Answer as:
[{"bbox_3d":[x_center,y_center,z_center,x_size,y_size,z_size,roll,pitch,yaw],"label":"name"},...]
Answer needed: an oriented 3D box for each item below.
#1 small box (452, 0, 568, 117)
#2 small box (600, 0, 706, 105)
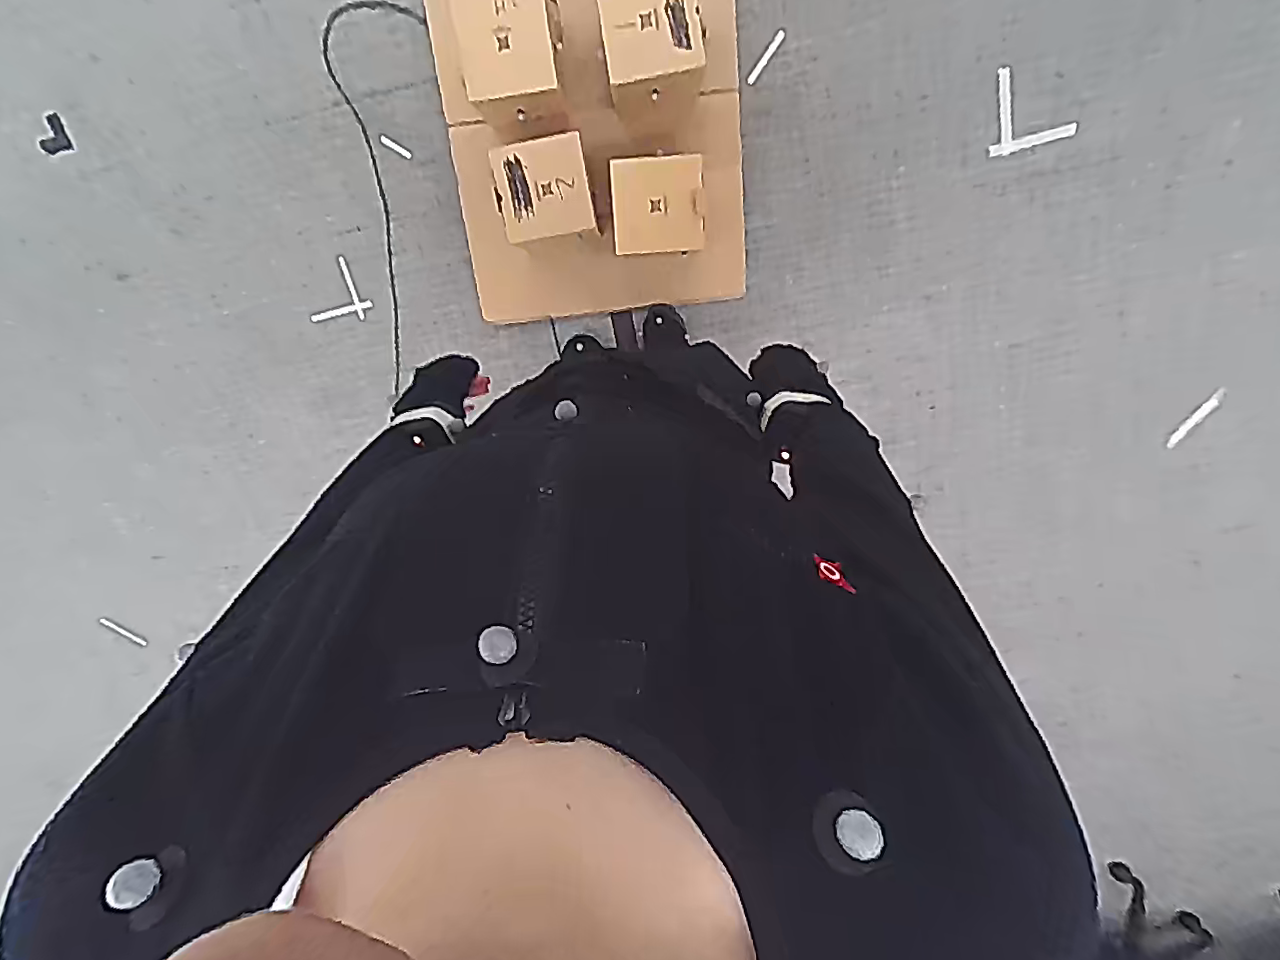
[{"bbox_3d":[-0.236,-0.808,1.019,0.168,0.176,0.179,-6,109,2],"label":"small box"},{"bbox_3d":[0.022,-0.828,1.008,0.179,0.176,0.168,-7,110,3],"label":"small box"}]
